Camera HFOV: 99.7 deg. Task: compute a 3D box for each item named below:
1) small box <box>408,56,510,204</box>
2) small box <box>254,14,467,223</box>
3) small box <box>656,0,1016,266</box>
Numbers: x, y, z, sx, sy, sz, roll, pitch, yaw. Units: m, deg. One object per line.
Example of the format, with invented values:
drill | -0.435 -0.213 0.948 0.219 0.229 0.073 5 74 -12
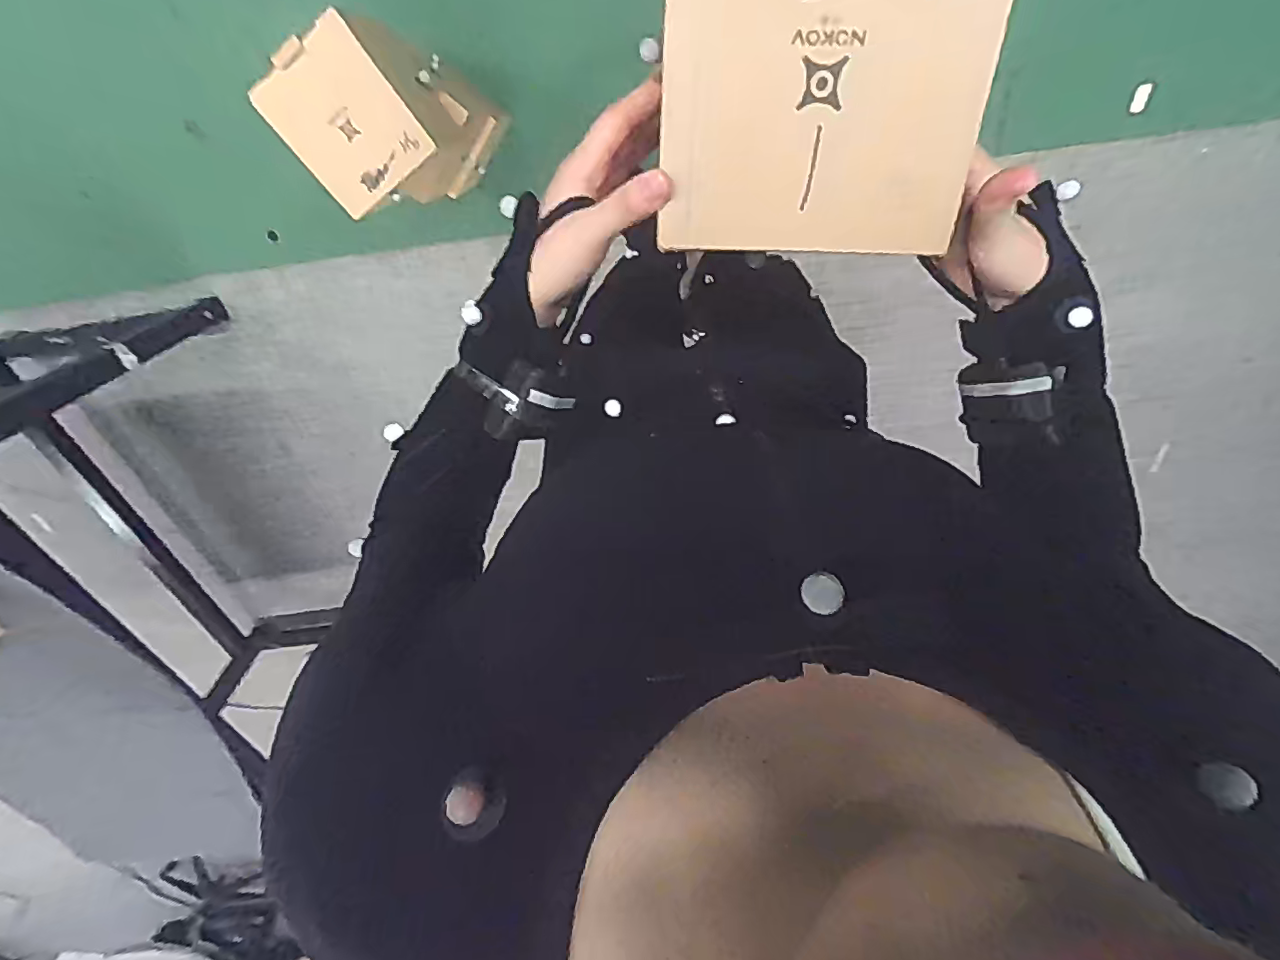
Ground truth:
small box | -0.374 -0.677 1.048 0.179 0.176 0.168 32 119 -21
small box | -0.379 -0.502 0.769 0.168 0.176 0.179 -28 121 18
small box | 0.096 -0.237 0.340 0.168 0.176 0.179 2 117 2
